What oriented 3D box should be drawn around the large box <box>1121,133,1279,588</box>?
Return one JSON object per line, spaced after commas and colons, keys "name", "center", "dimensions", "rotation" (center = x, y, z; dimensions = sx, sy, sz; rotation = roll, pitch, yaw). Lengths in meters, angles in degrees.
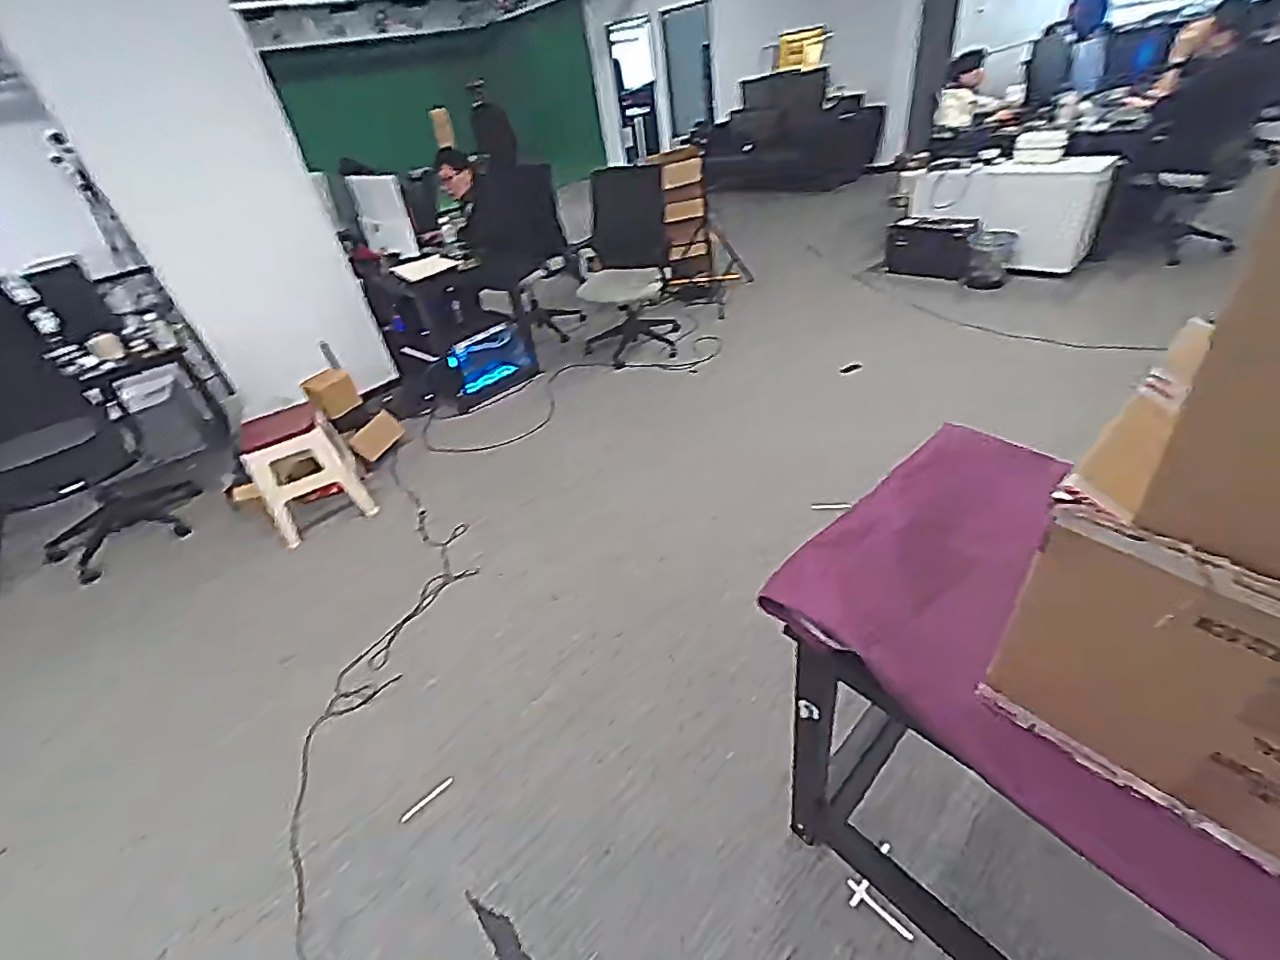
{"name": "large box", "center": [0.634, -0.122, 0.380], "dimensions": [0.408, 0.320, 0.320], "rotation": [-33, 38, -27]}
